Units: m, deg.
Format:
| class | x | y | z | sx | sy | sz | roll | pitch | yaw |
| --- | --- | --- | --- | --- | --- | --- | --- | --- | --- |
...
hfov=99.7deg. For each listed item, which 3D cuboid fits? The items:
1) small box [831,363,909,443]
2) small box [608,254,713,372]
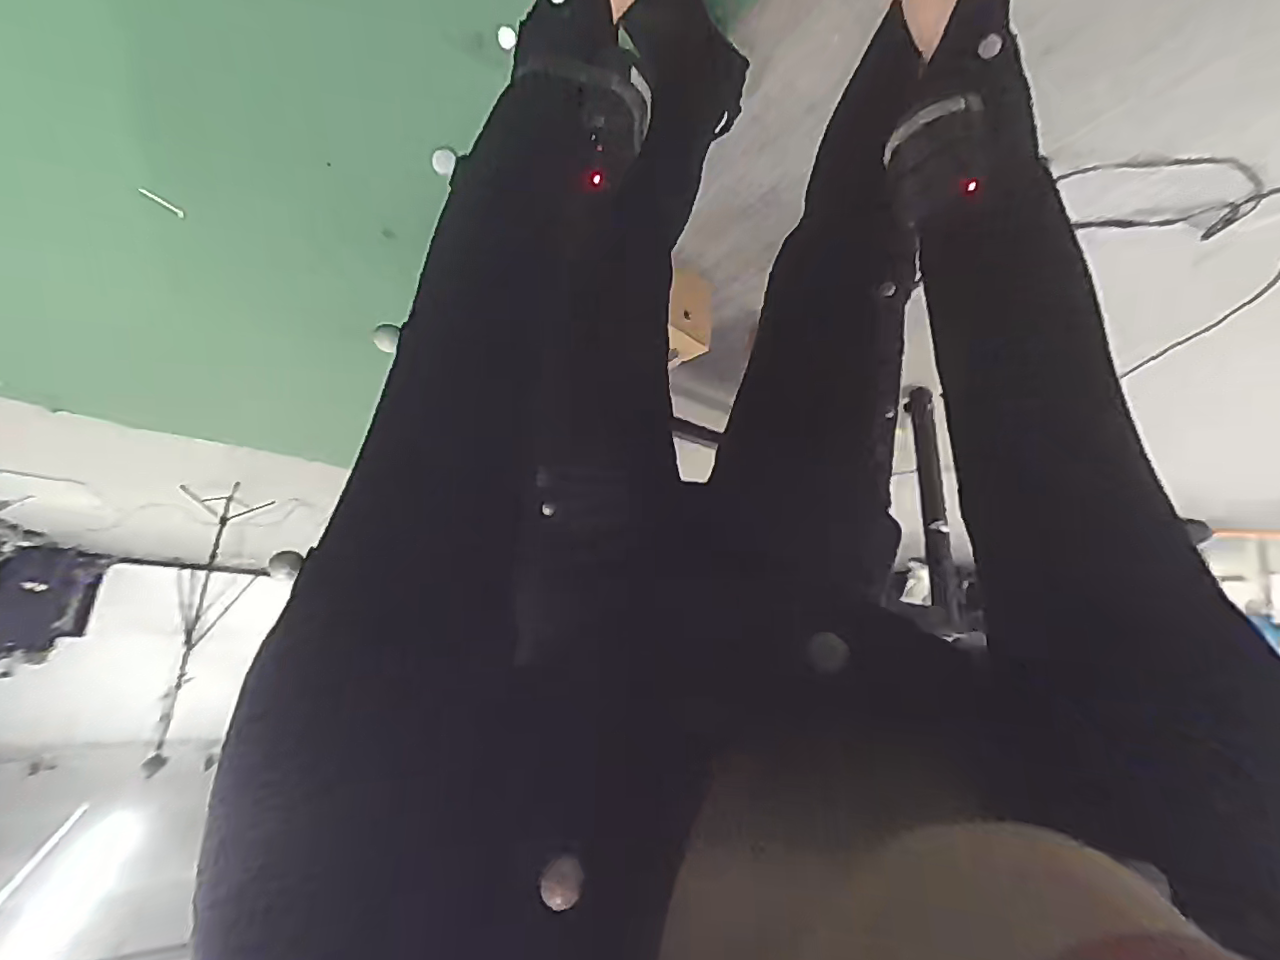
| class | x | y | z | sx | sy | sz | roll | pitch | yaw |
| --- | --- | --- | --- | --- | --- | --- | --- | --- | --- |
| small box | 0.680 | -0.225 | 1.601 | 0.168 | 0.176 | 0.179 | -13 | 158 | 41 |
| small box | 0.050 | -0.372 | 1.218 | 0.179 | 0.176 | 0.168 | 17 | 157 | -37 |
